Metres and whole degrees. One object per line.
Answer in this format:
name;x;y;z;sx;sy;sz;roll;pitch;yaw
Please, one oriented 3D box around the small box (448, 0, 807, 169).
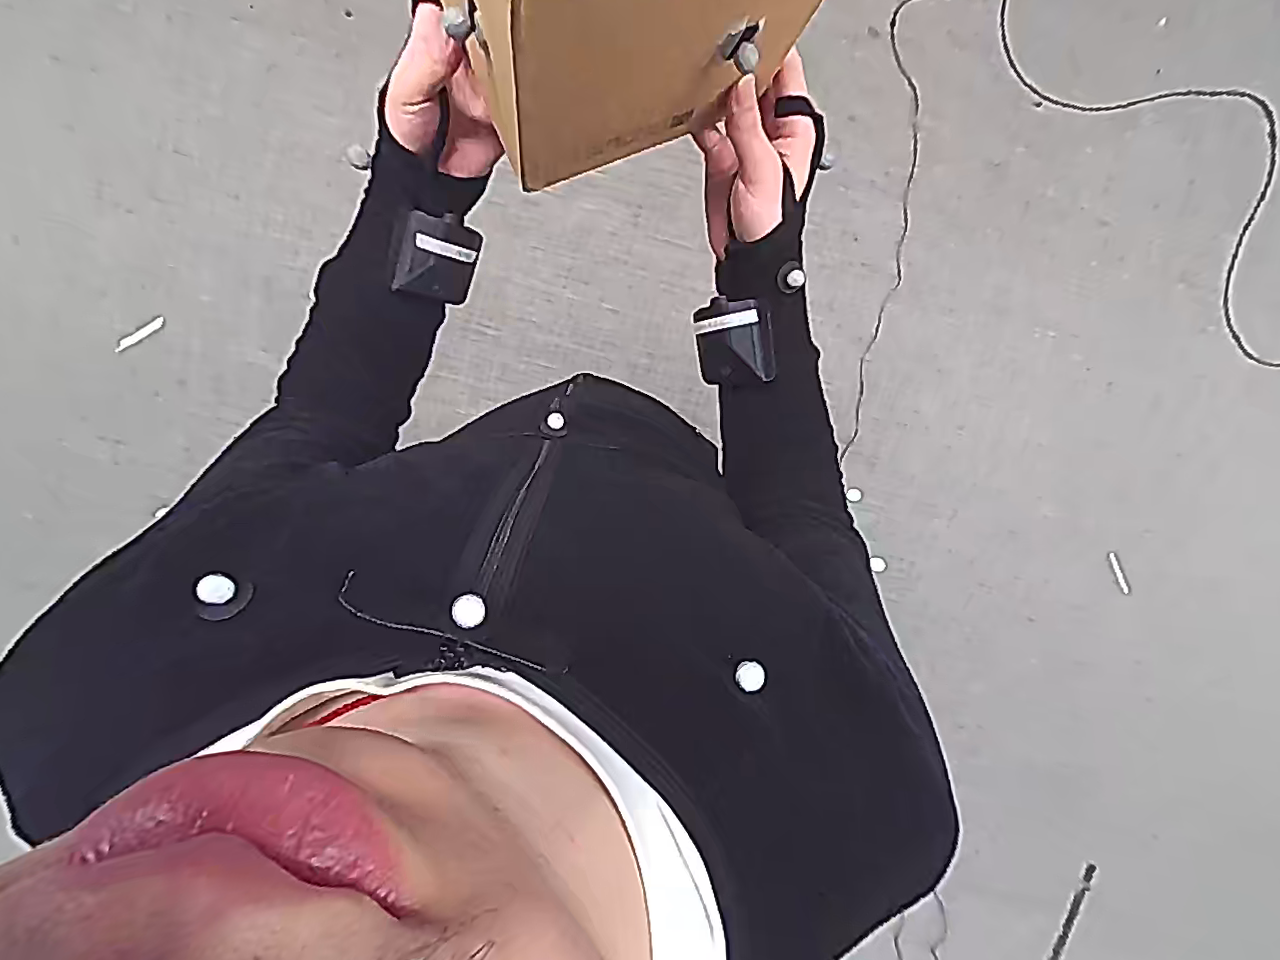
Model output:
small box;-0.015;-0.287;0.267;0.168;0.176;0.179;-25;99;-9
